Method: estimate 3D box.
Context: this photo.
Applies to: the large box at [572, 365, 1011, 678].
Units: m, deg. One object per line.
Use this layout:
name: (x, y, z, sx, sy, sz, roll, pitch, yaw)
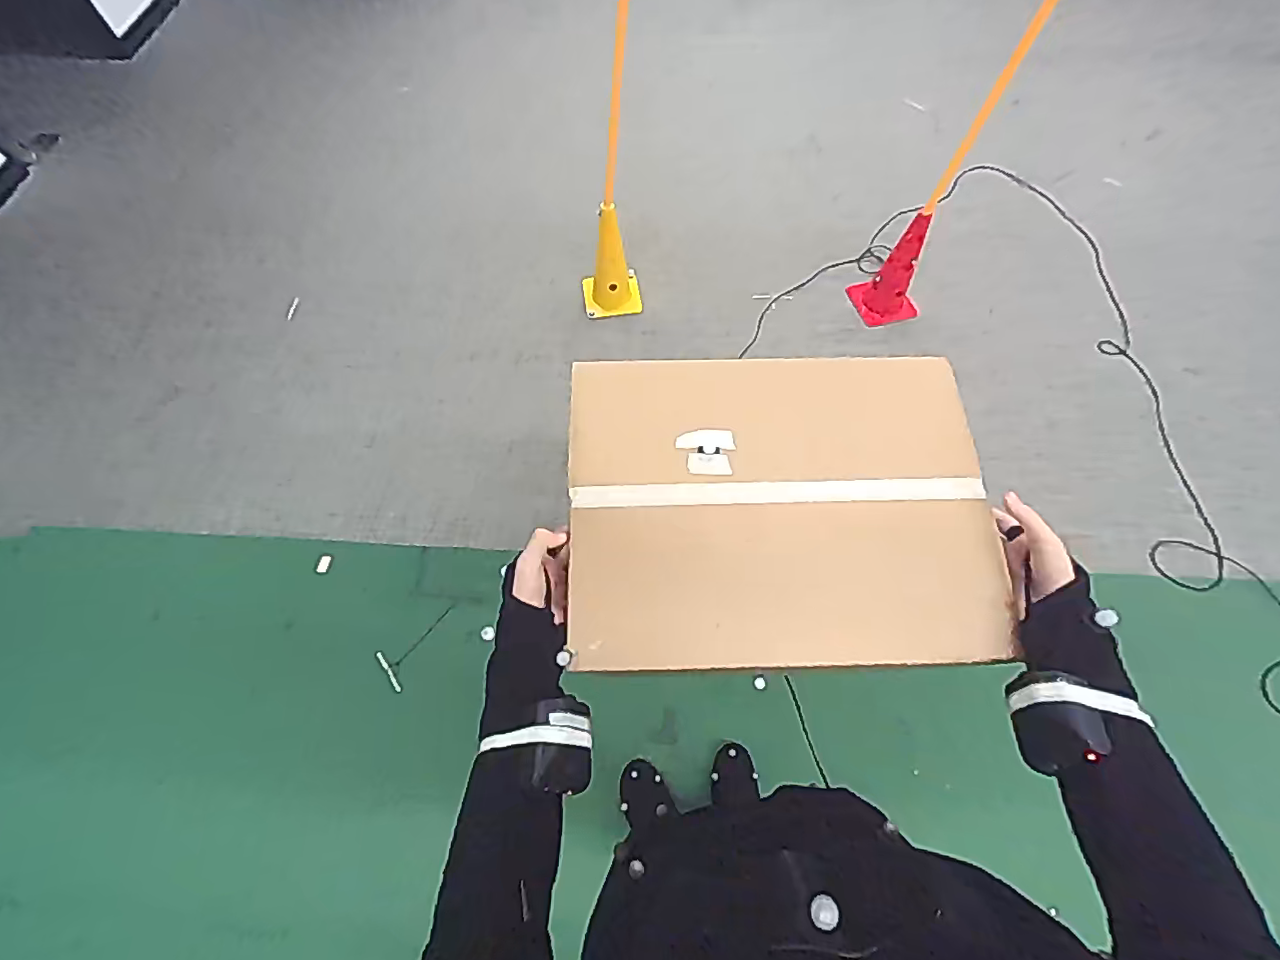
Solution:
large box: (0.136, 0.077, 0.676, 0.408, 0.320, 0.320, -2, 68, 0)
